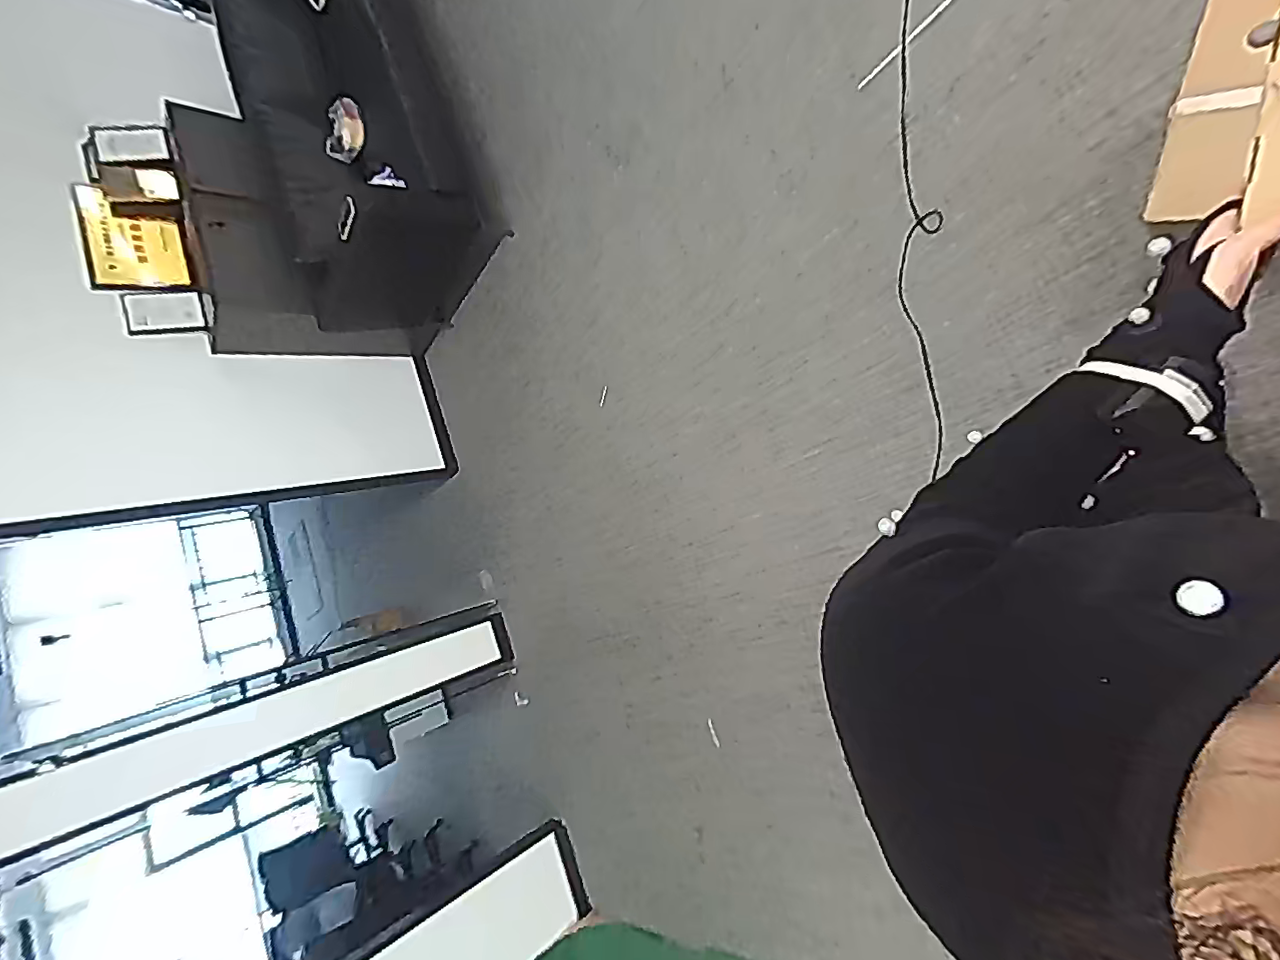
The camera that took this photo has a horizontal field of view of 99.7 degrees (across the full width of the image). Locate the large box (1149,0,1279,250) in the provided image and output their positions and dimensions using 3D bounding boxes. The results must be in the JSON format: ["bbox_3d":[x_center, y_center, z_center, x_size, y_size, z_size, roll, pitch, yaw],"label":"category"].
[{"bbox_3d":[1.038,-0.523,0.766,0.408,0.320,0.320,20,113,42],"label":"large box"}]
